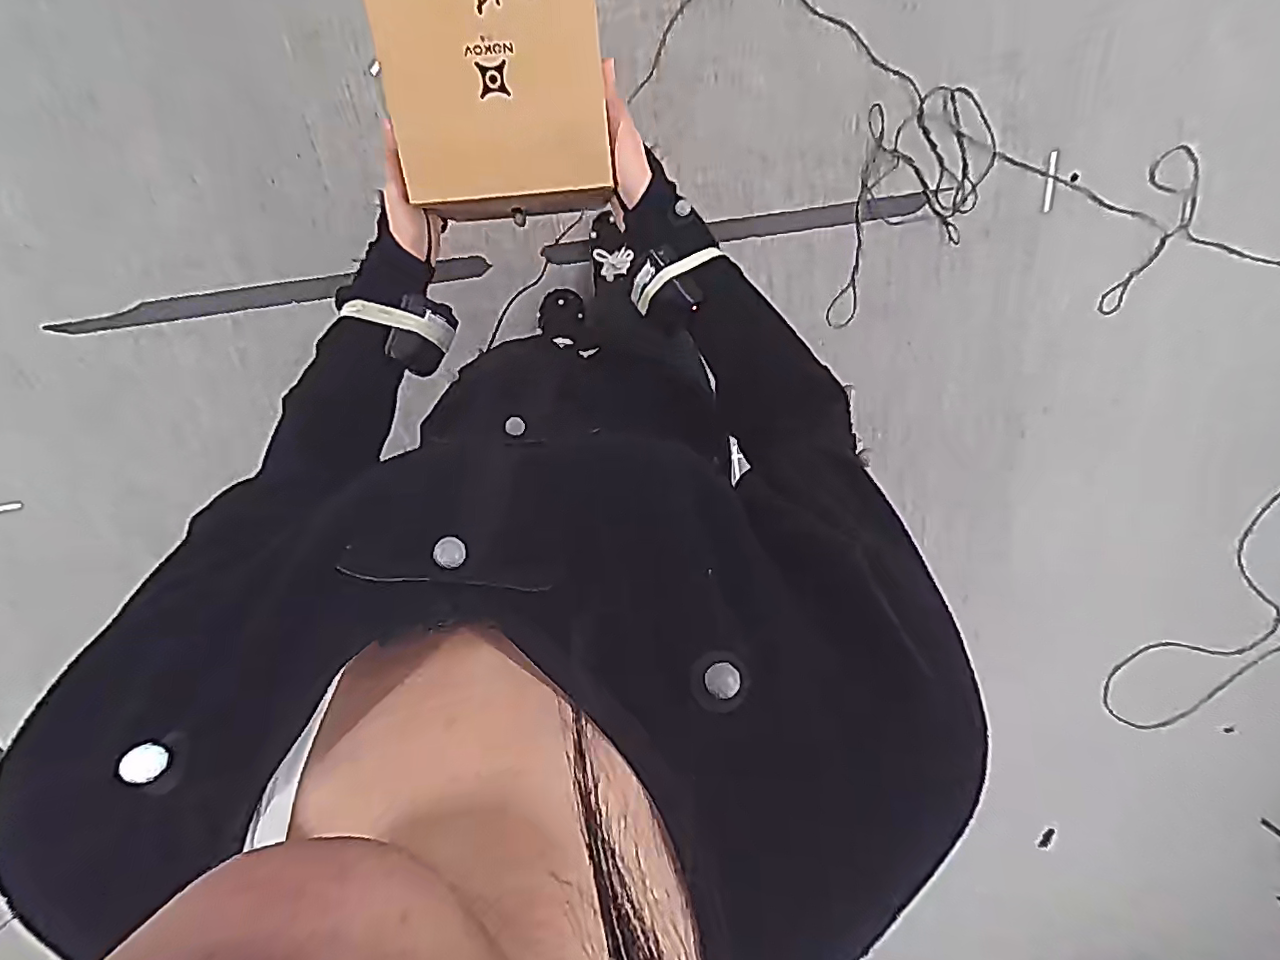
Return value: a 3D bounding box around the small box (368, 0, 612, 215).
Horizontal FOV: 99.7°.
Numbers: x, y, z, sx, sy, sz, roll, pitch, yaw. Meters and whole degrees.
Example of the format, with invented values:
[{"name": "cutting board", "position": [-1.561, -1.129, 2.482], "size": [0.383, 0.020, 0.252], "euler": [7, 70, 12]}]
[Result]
[{"name": "small box", "position": [-0.115, -0.338, 0.476], "size": [0.168, 0.176, 0.179], "euler": [-7, 111, -4]}]
